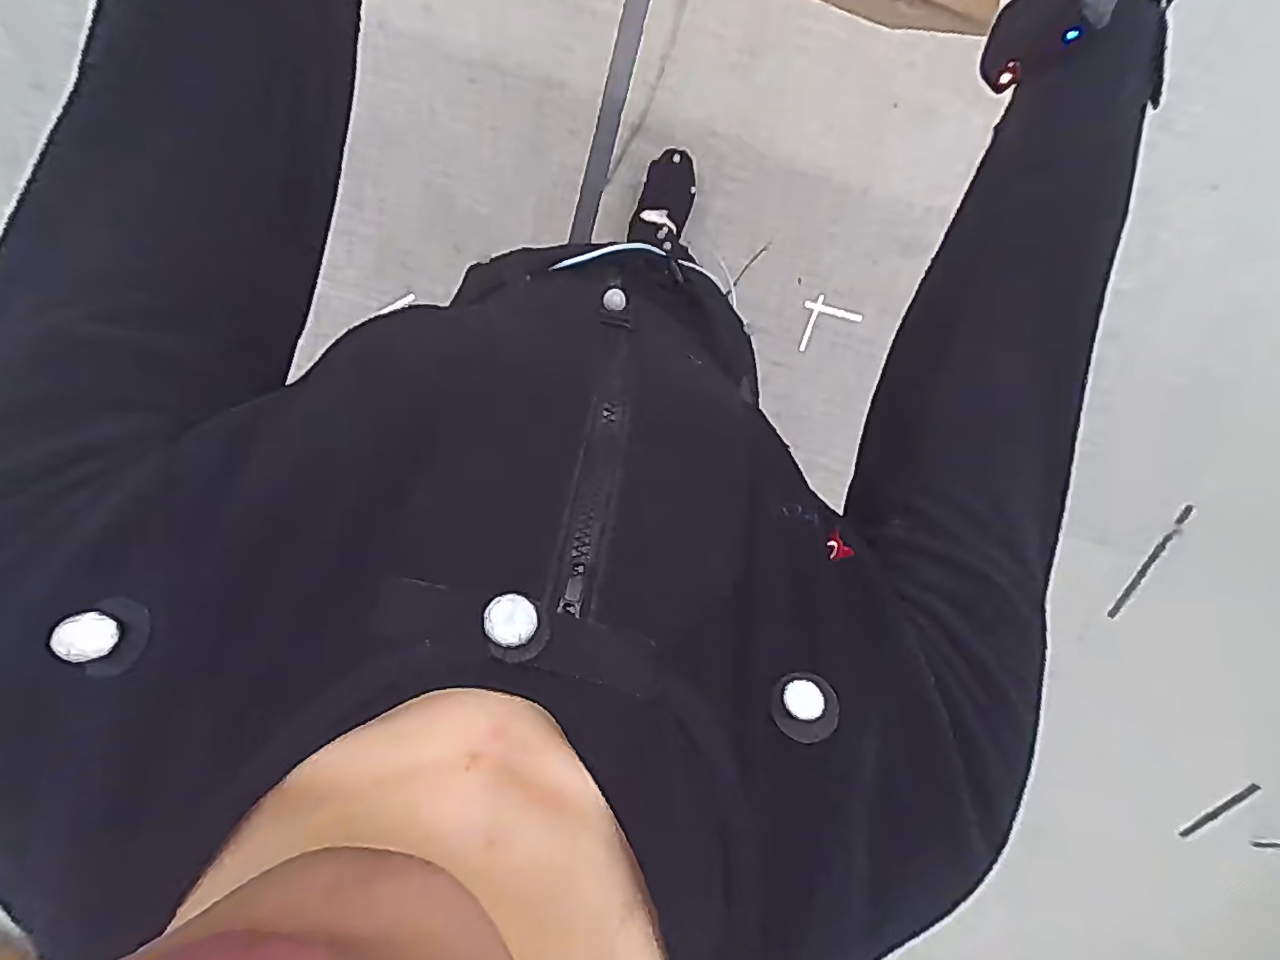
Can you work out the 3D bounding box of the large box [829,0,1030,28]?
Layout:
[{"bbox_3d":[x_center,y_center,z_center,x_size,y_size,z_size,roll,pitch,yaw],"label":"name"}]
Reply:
[{"bbox_3d":[0.123,-0.574,0.376,0.408,0.320,0.320,14,132,-8],"label":"large box"}]
